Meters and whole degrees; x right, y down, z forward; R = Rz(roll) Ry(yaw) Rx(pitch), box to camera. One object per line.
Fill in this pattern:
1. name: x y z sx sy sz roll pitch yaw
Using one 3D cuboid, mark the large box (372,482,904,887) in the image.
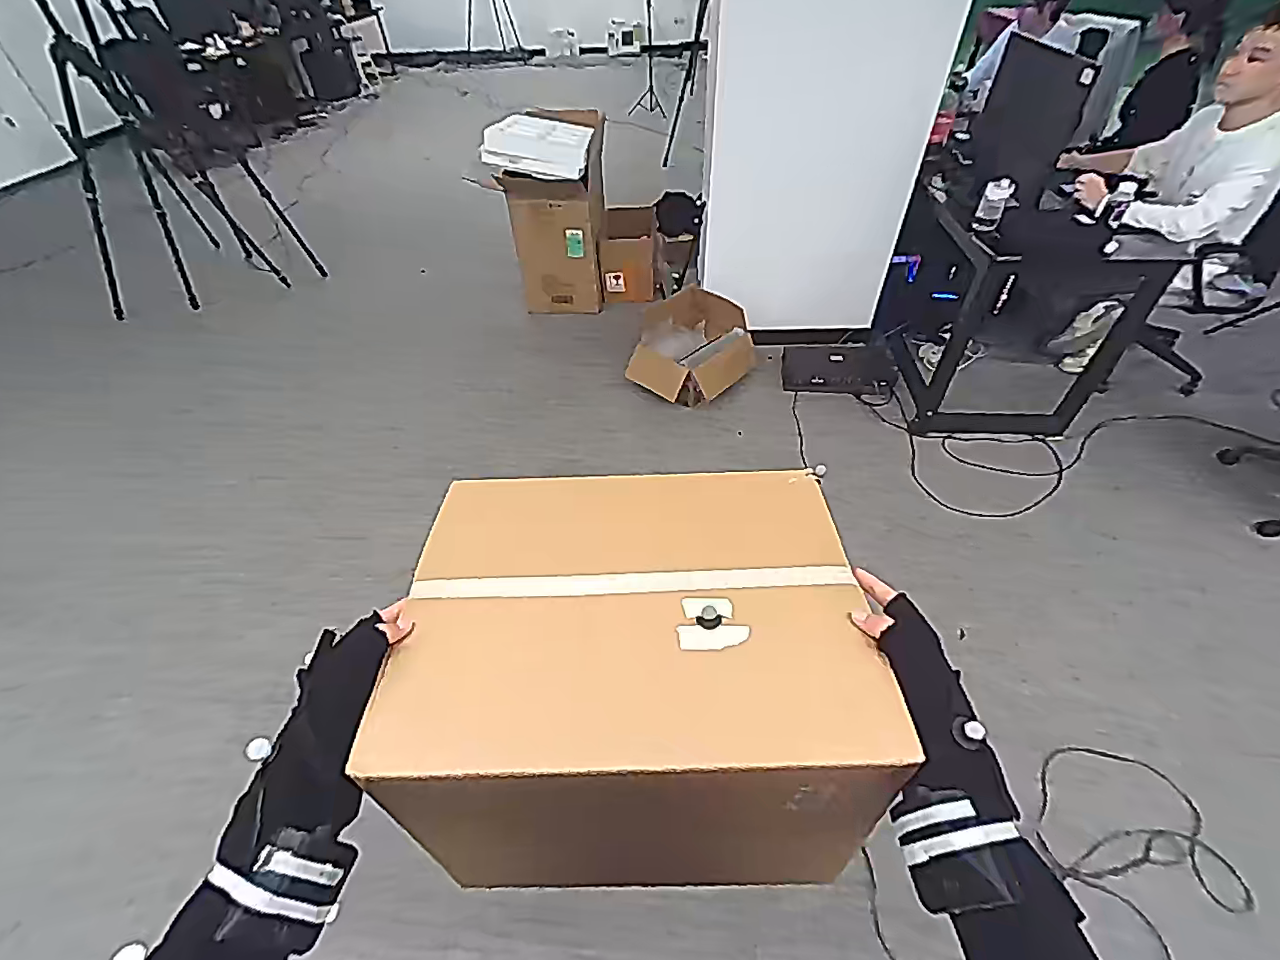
1. large box: -0.001 0.222 0.604 0.408 0.320 0.320 -2 41 1
